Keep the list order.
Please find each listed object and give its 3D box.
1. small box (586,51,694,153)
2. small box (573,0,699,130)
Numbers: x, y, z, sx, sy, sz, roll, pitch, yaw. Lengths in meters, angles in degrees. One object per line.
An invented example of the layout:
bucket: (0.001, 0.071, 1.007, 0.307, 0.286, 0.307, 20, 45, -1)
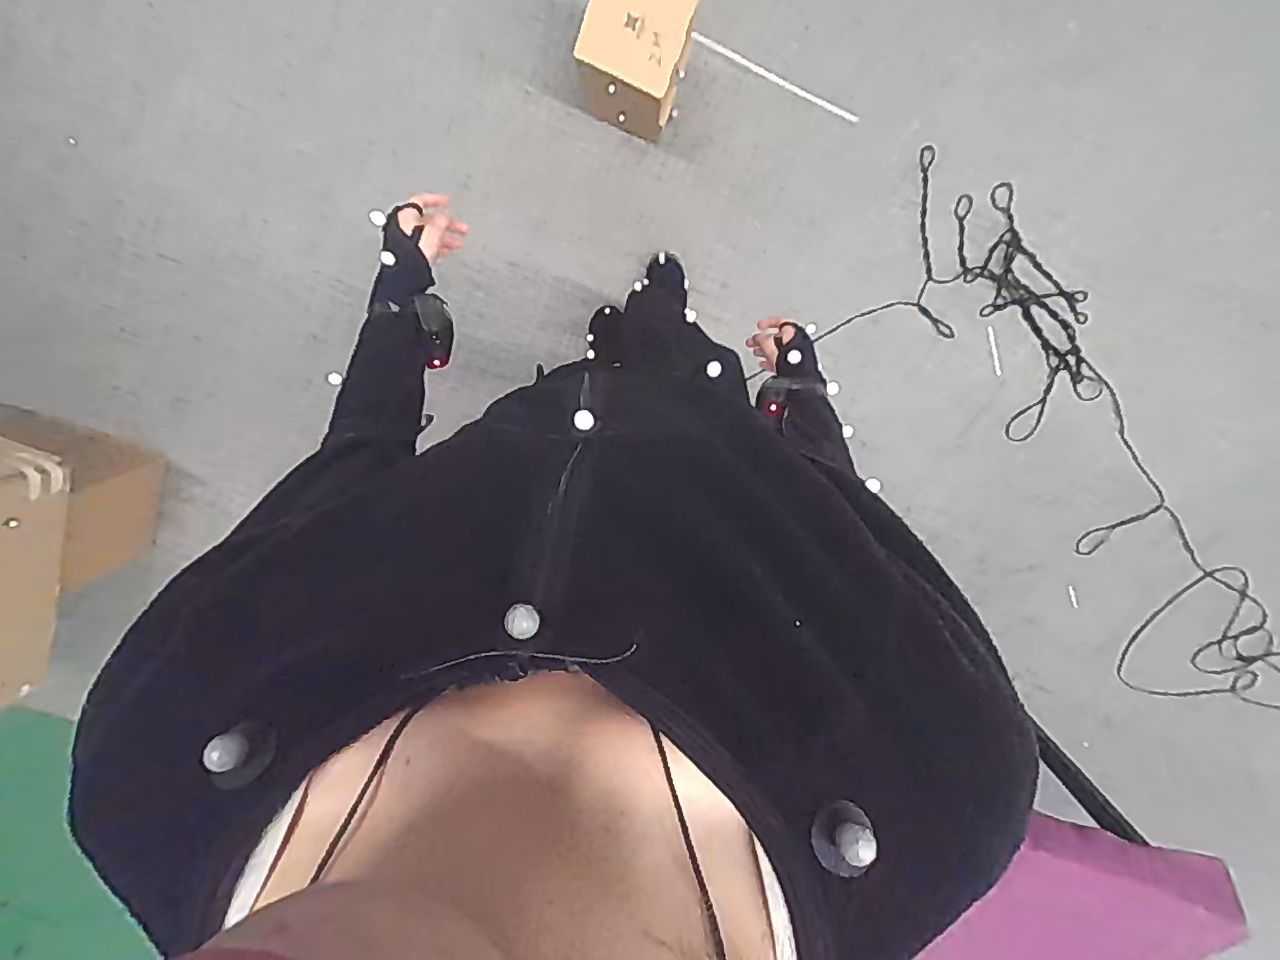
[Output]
small box: (-0.003, -0.841, 1.170, 0.179, 0.176, 0.168, 21, 107, -8)
small box: (-0.010, -0.792, 1.012, 0.179, 0.176, 0.168, 21, 108, -8)
